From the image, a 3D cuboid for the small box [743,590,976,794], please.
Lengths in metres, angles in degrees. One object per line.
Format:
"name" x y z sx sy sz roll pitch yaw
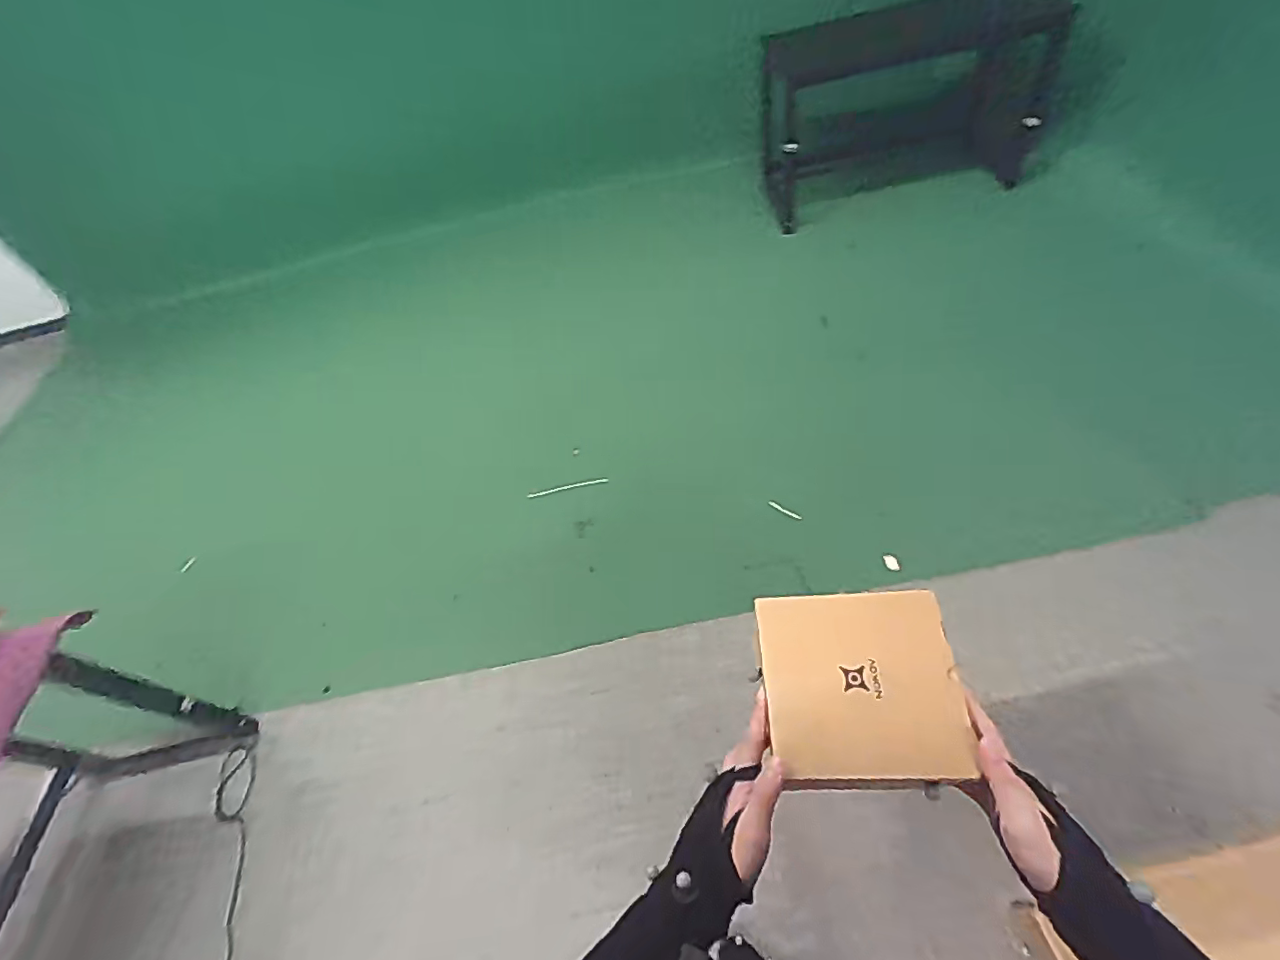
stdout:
"small box" 0.204 0.227 0.563 0.179 0.176 0.168 -5 57 6
